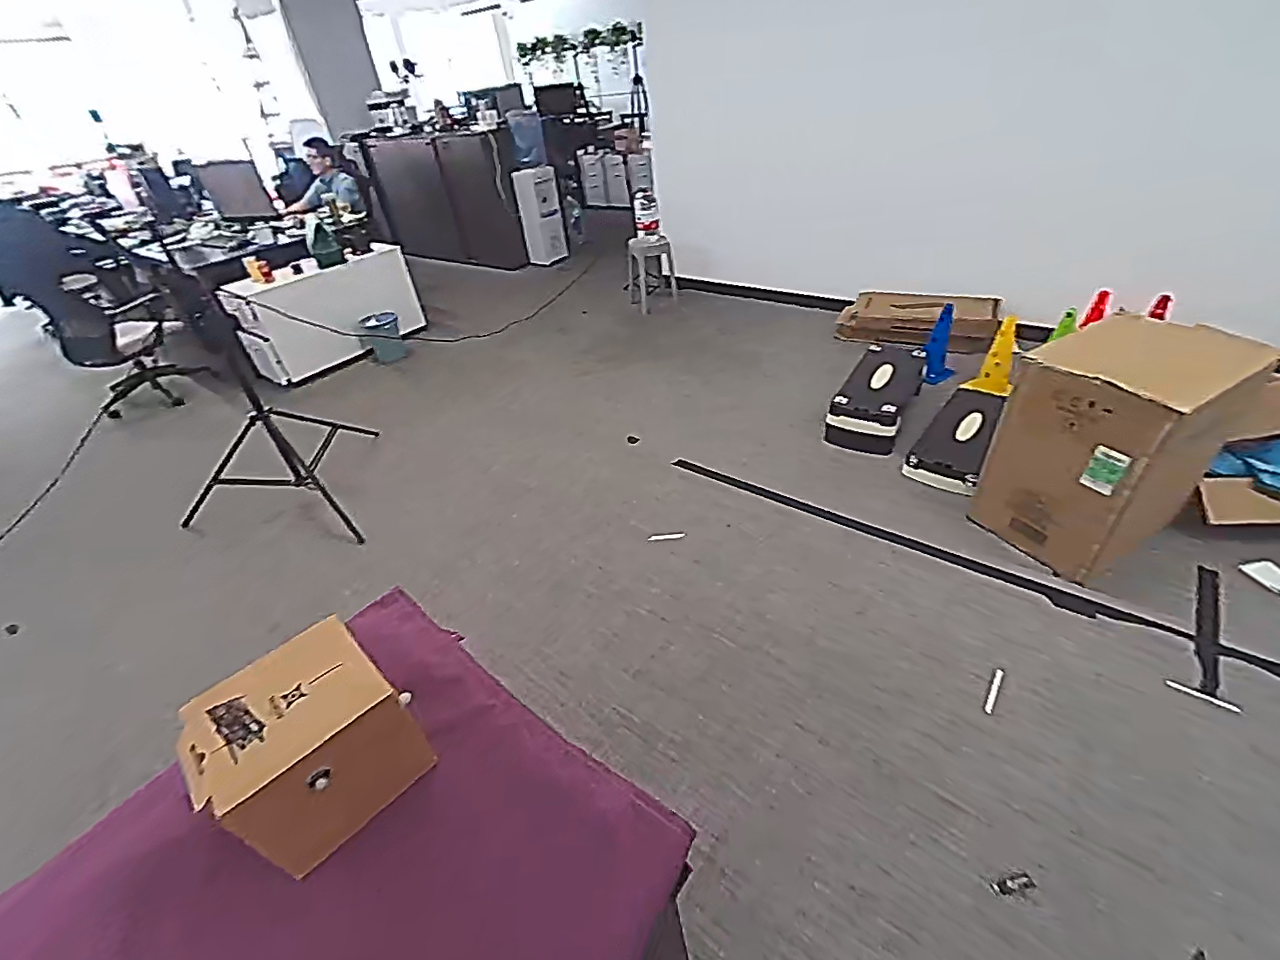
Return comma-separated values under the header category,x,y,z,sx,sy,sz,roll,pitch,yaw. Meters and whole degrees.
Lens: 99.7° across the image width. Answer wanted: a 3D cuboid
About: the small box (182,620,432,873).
category,x,y,z,sx,sy,sz,roll,pitch,yaw
small box,-0.383,0.312,0.643,0.168,0.176,0.179,28,48,35
